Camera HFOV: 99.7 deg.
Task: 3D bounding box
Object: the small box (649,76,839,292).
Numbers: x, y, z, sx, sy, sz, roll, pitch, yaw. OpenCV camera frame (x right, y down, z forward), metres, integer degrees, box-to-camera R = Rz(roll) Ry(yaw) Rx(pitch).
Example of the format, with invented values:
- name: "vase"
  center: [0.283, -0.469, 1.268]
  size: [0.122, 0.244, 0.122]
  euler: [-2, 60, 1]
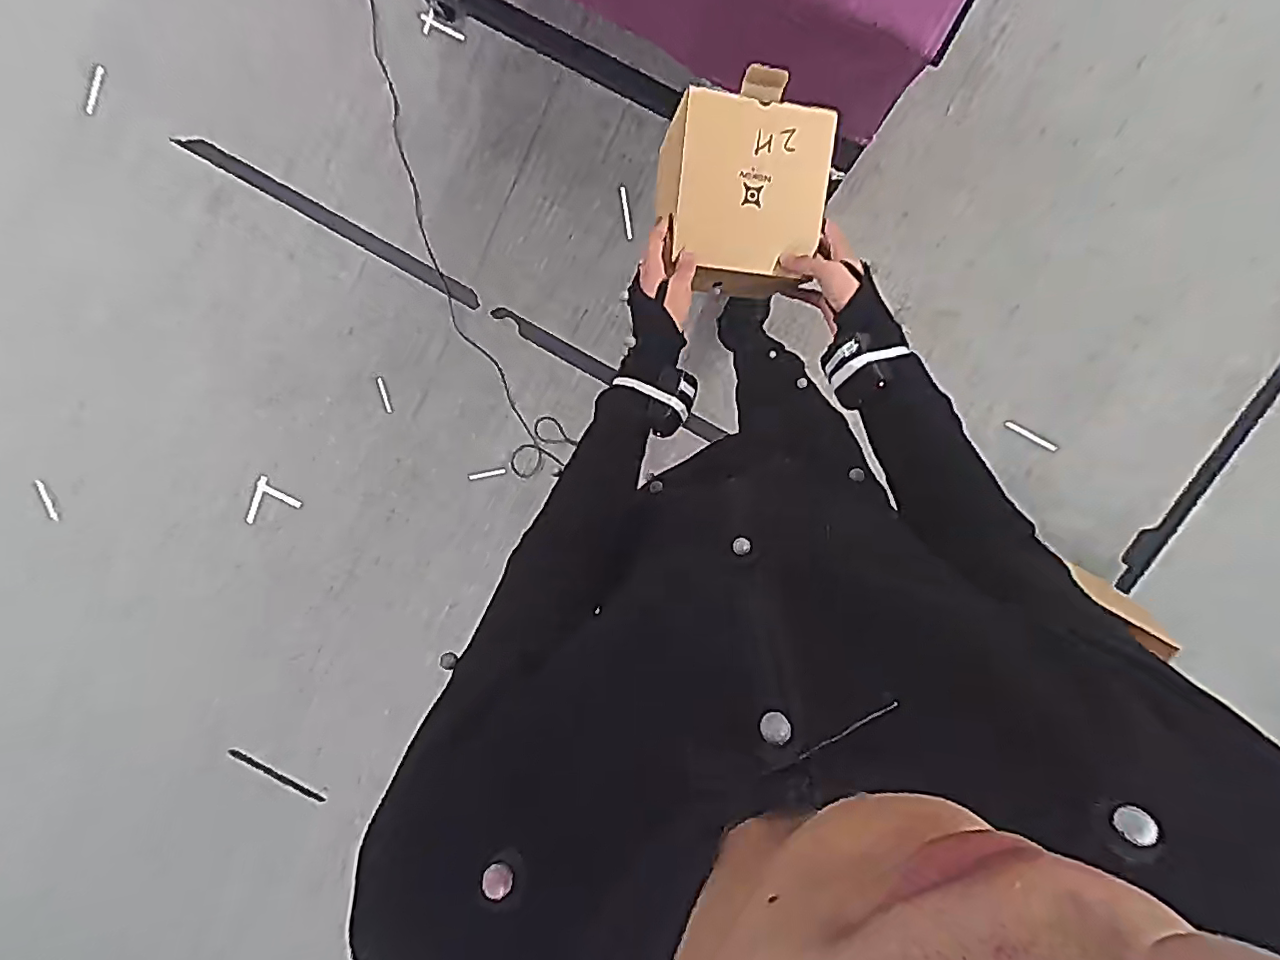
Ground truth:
- name: "small box"
  center: [0.109, -0.331, 0.647]
  size: [0.168, 0.176, 0.179]
  euler: [4, 100, -10]
